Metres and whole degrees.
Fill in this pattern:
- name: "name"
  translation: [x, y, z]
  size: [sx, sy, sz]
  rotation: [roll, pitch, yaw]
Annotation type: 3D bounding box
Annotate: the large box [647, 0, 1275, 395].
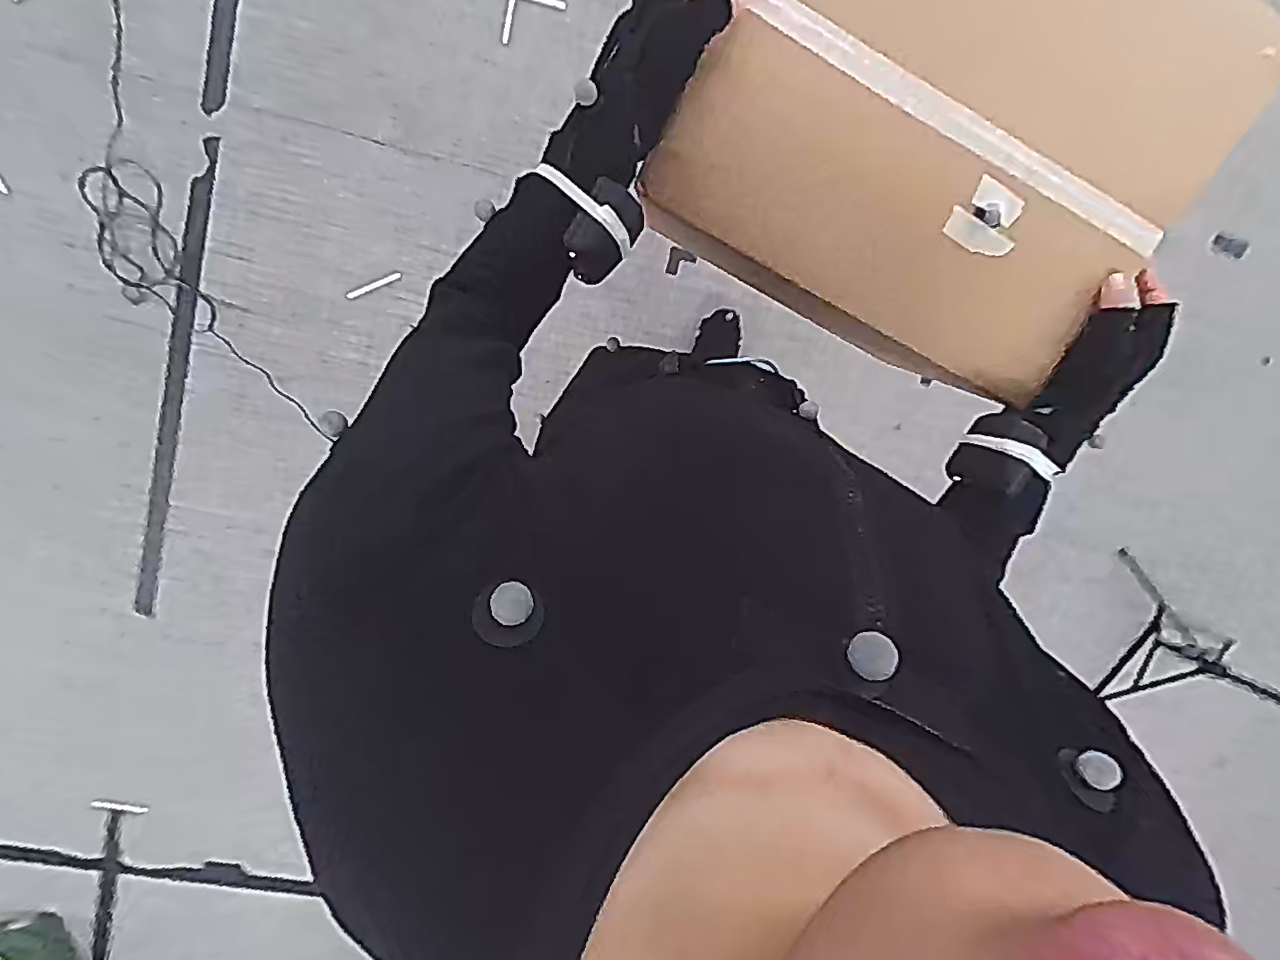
- name: "large box"
  translation: [0.249, -0.340, 0.576]
  size: [0.408, 0.320, 0.320]
  rotation: [26, 110, -8]
